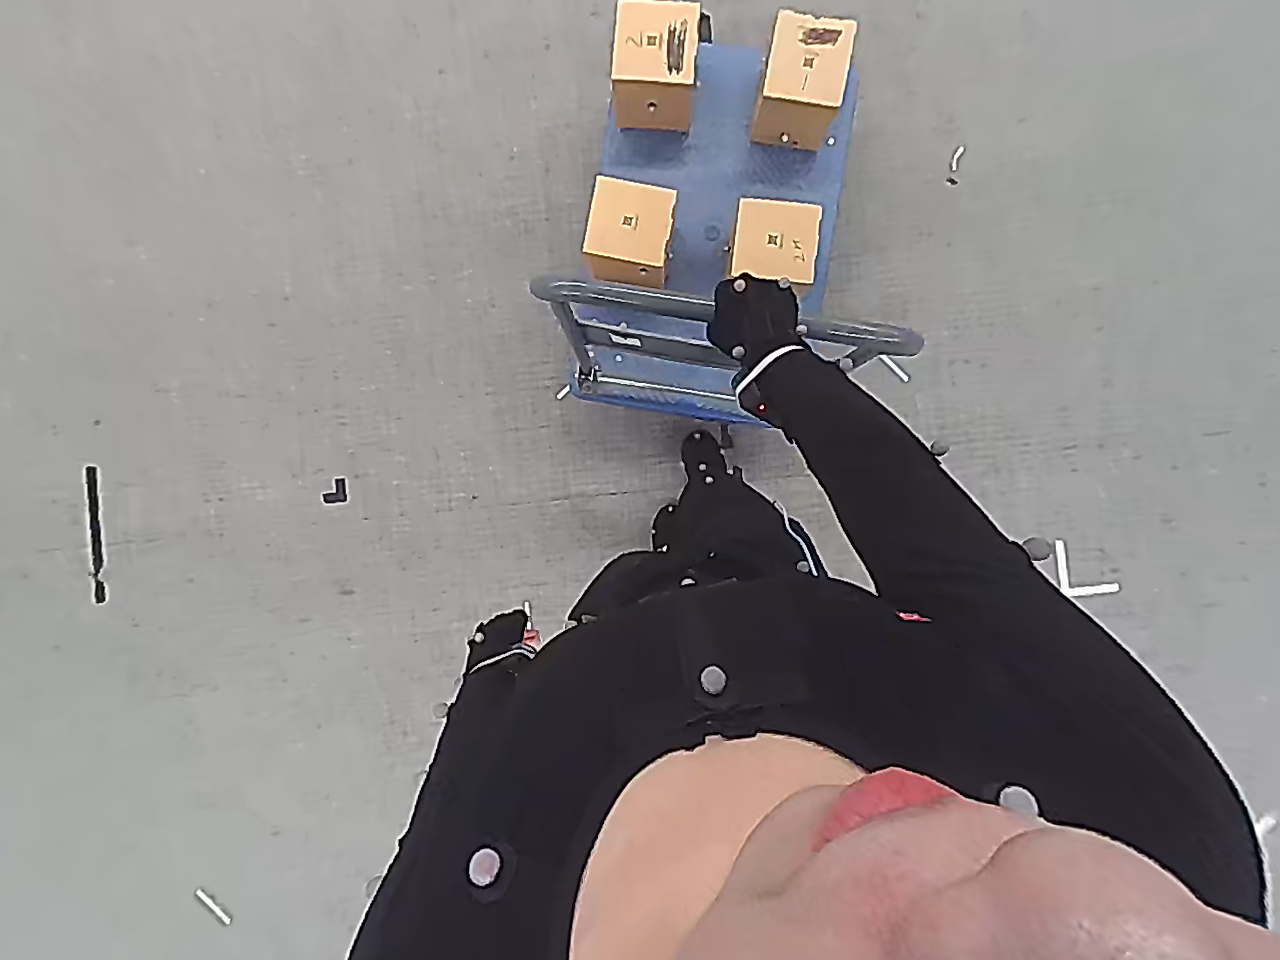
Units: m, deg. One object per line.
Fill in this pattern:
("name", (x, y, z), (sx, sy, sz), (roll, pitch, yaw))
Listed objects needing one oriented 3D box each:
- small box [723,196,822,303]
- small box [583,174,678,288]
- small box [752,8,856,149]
("small box", (0.286, -0.505, 1.208), (0.179, 0.176, 0.168), (7, 93, 2))
("small box", (-0.020, -0.550, 1.216), (0.179, 0.176, 0.168), (11, 92, 0))
("small box", (0.351, -0.874, 1.191), (0.168, 0.176, 0.179), (10, 94, 2))
